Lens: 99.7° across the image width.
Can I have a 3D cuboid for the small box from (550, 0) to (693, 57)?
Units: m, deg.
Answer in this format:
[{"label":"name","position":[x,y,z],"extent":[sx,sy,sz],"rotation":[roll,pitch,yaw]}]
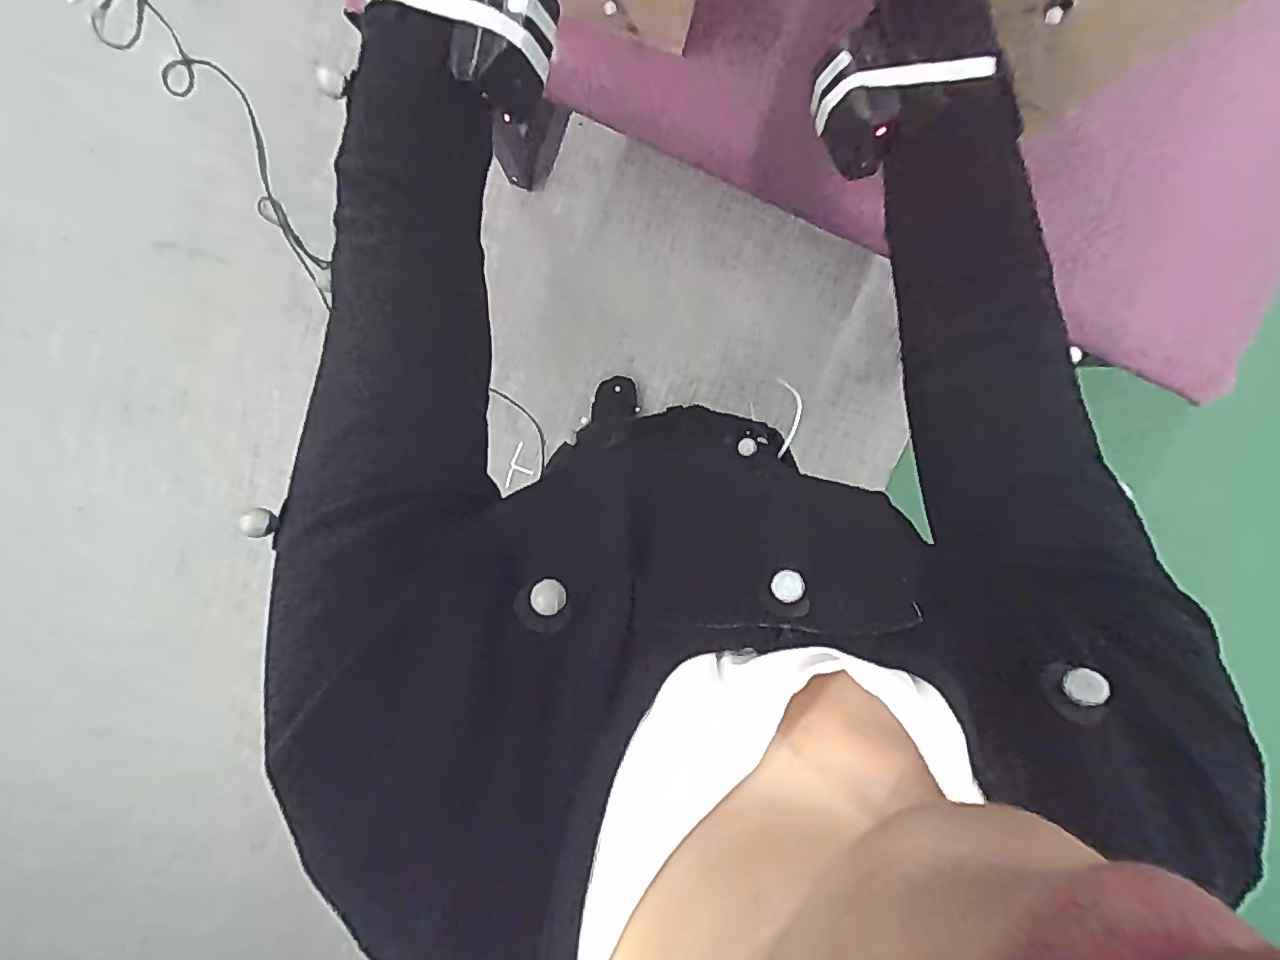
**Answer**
[{"label":"small box","position":[-0.005,-0.593,0.549],"extent":[0.168,0.176,0.179],"rotation":[16,98,-7]}]
